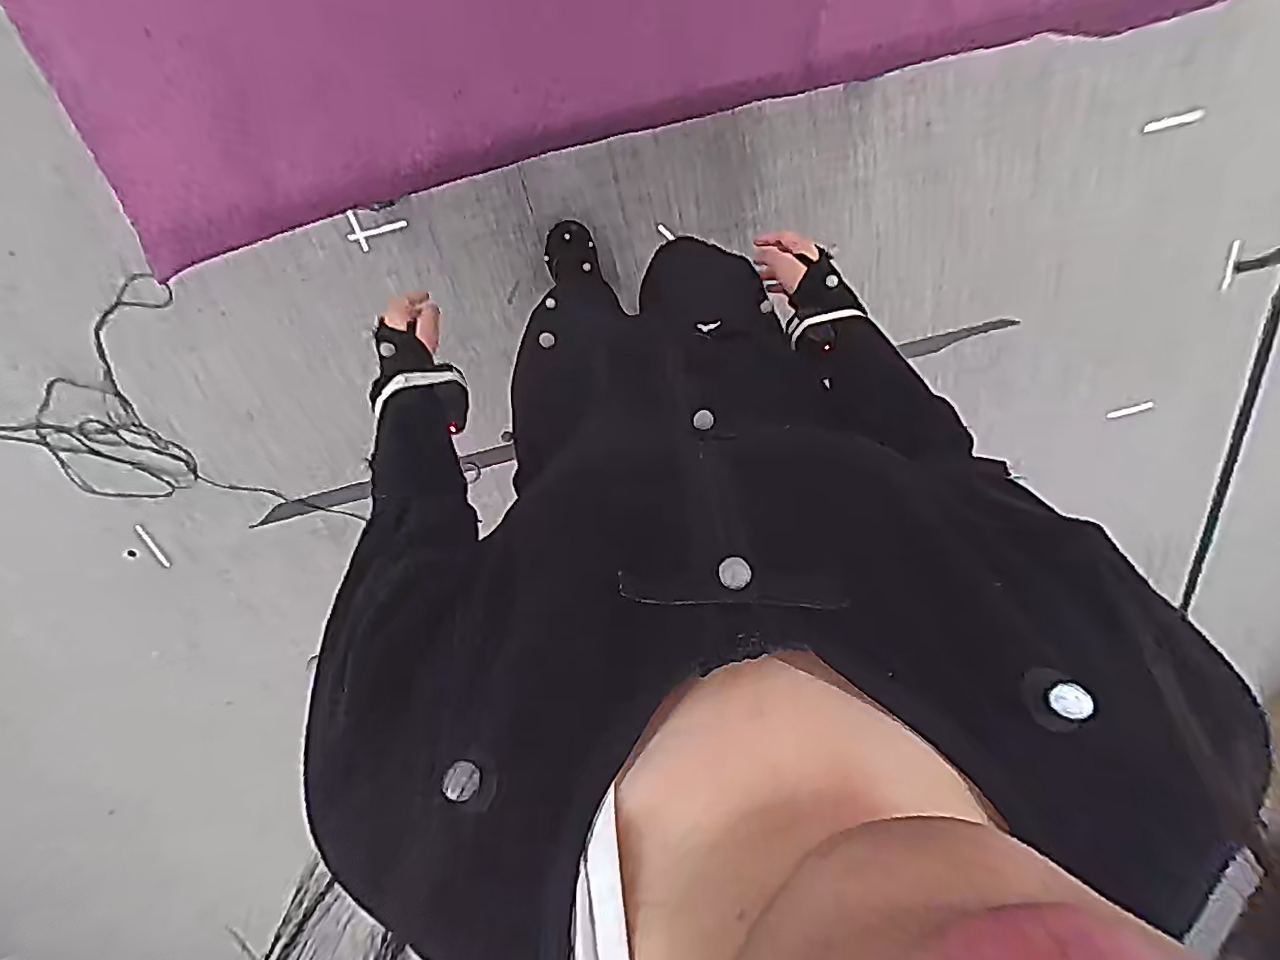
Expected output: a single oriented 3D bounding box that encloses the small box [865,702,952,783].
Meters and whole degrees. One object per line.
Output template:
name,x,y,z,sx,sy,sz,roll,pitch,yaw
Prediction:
small box,0.918,0.900,1.868,0.179,0.176,0.168,31,109,-22
